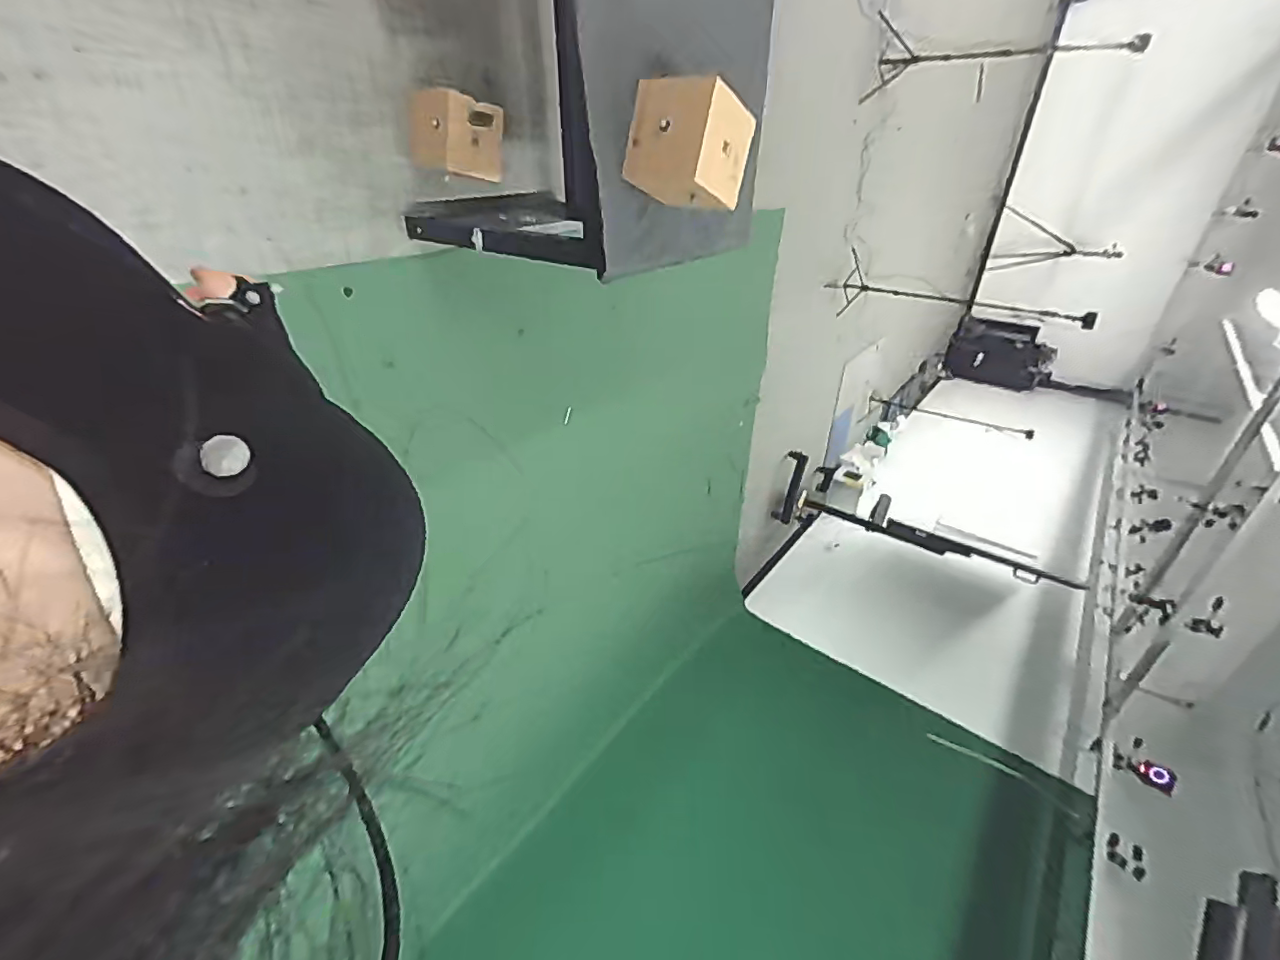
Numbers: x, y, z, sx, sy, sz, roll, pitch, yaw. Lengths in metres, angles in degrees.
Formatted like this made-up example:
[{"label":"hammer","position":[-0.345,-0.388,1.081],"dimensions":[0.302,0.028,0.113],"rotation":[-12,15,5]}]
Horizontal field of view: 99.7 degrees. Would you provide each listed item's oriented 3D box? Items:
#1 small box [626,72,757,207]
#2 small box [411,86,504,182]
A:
[{"label":"small box","position":[0.096,-0.638,1.031],"dimensions":[0.179,0.176,0.168],"rotation":[-10,118,-56]},{"label":"small box","position":[-0.477,-0.896,1.407],"dimensions":[0.168,0.176,0.179],"rotation":[-19,126,-49]}]
